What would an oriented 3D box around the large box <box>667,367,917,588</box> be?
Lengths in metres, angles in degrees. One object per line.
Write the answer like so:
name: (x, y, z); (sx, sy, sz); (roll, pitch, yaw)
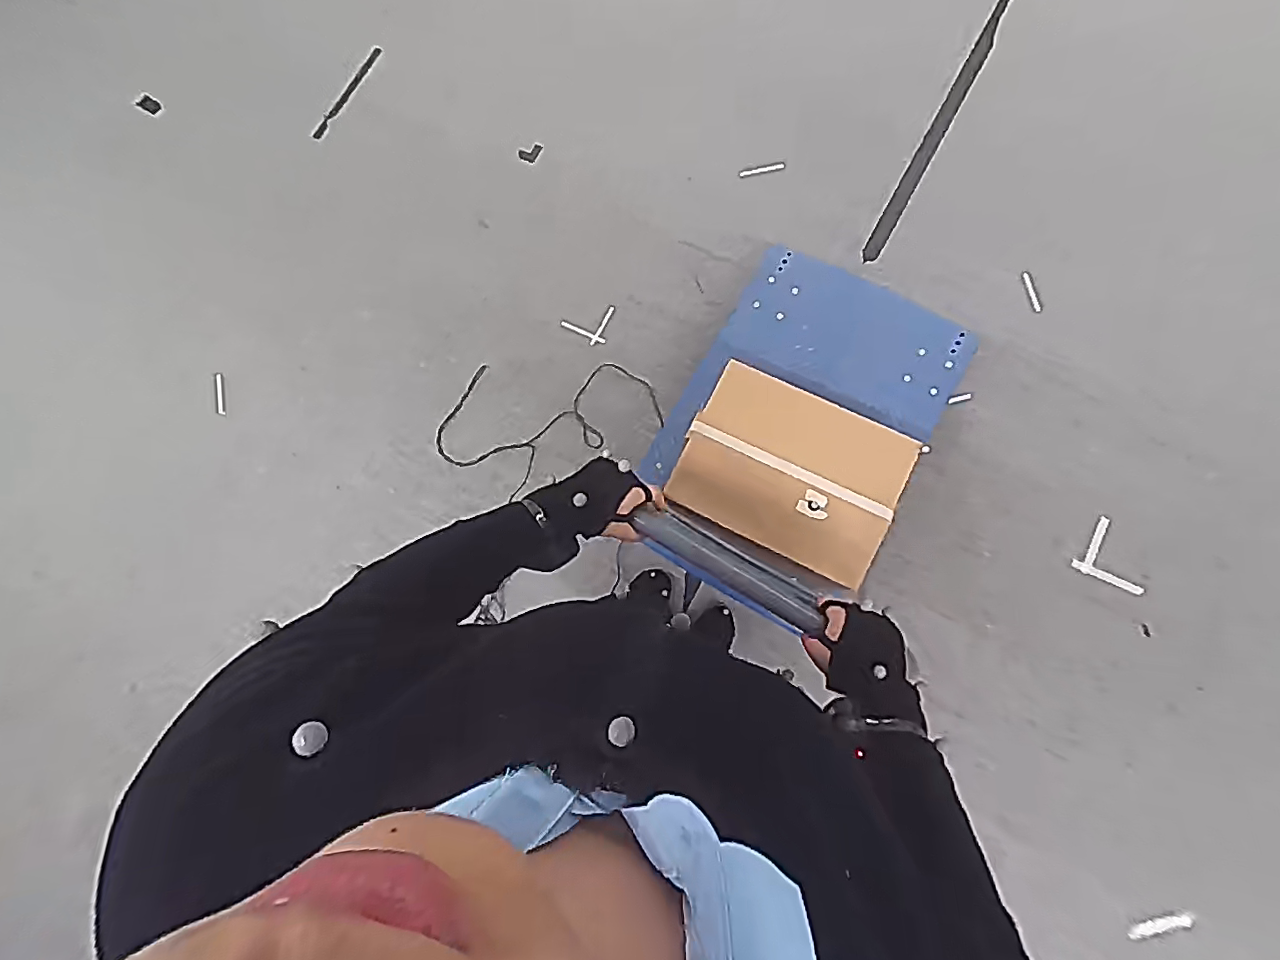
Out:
large box: (0.302, 0.011, 1.194); (0.408, 0.320, 0.320); (26, 84, 8)
